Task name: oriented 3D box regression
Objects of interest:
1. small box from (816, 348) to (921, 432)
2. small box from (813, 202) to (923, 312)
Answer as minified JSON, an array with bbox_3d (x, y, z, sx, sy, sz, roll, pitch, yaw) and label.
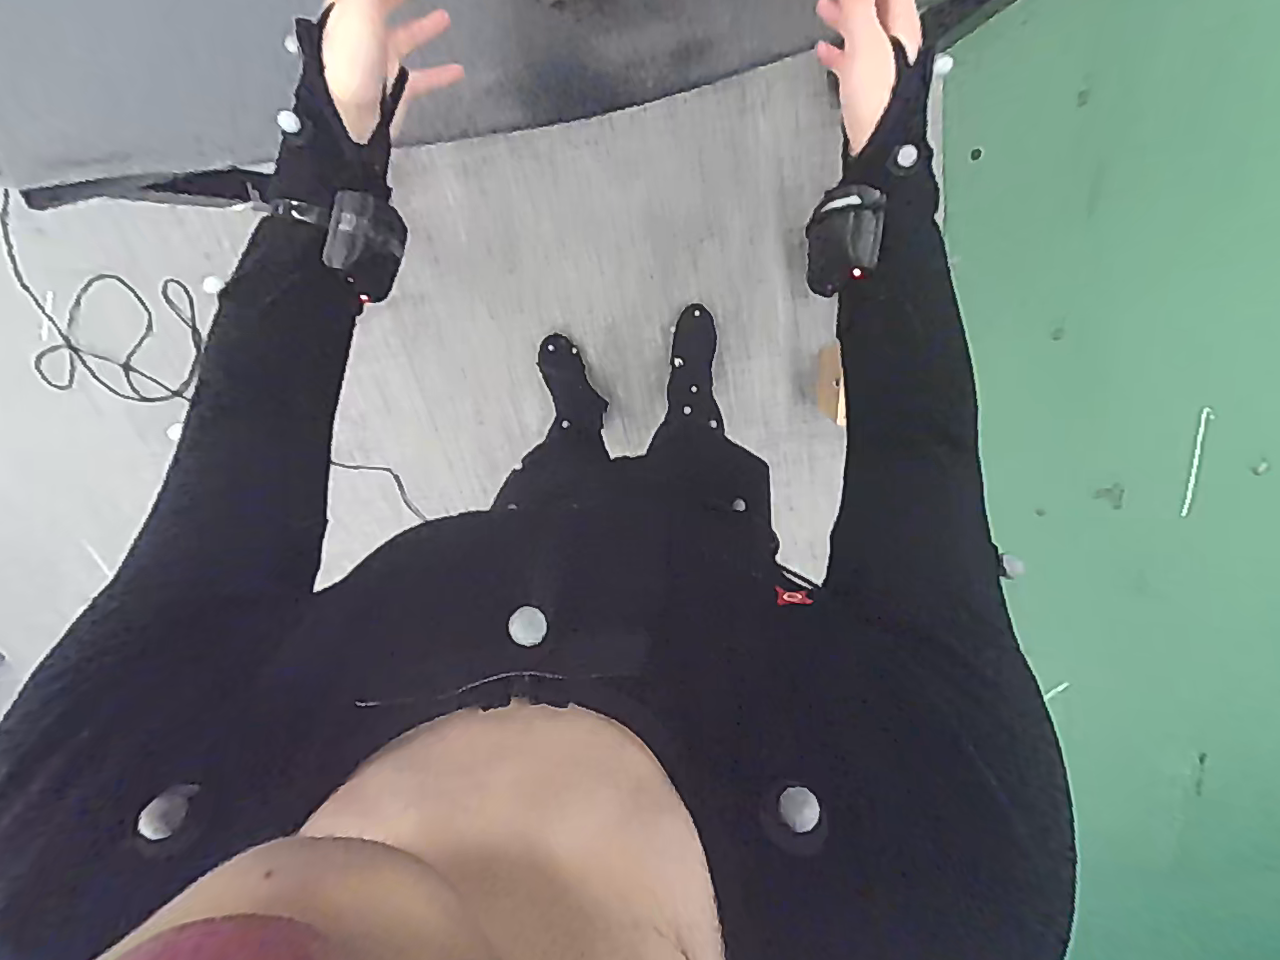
[{"bbox_3d":[0.543,-0.222,1.309,0.179,0.176,0.168,-1,114,3],"label":"small box"},{"bbox_3d":[0.499,-0.492,1.197,0.168,0.176,0.179,-17,111,9],"label":"small box"}]
